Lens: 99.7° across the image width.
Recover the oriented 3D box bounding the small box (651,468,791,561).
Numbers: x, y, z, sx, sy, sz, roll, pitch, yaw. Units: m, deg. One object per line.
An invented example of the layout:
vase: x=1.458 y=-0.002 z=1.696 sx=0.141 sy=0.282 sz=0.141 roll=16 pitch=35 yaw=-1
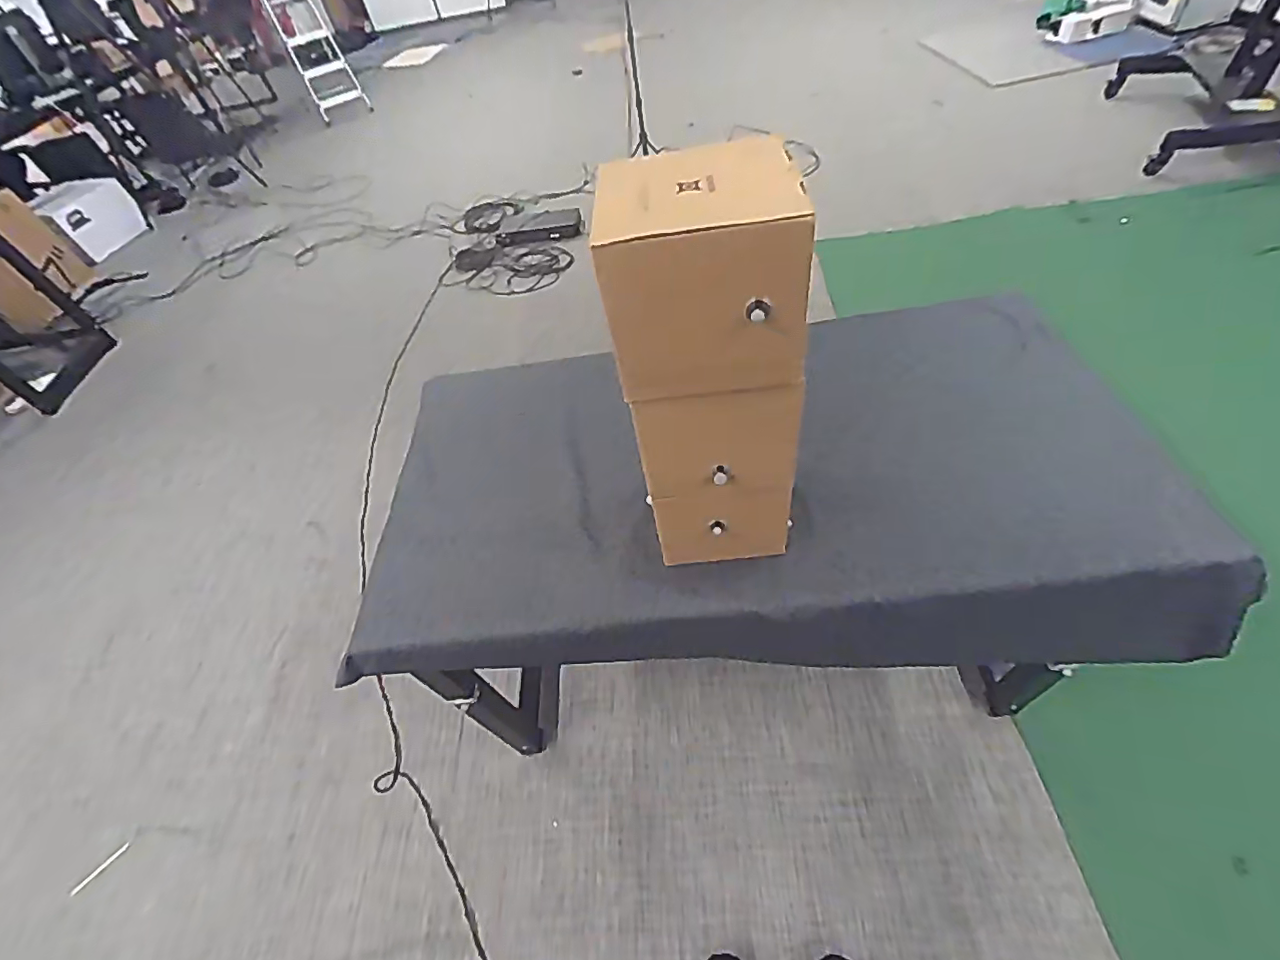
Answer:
small box: x=0.113 y=0.004 z=0.779 sx=0.179 sy=0.176 sz=0.168 roll=-4 pitch=49 yaw=8

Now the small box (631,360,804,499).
small box: x=0.088 y=-0.094 z=0.655 sx=0.179 sy=0.176 sz=0.168 roll=-6 pitch=50 yaw=6

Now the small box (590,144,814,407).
small box: x=0.059 y=-0.192 z=0.527 sx=0.179 sy=0.176 sz=0.168 roll=-7 pitch=49 yaw=8
